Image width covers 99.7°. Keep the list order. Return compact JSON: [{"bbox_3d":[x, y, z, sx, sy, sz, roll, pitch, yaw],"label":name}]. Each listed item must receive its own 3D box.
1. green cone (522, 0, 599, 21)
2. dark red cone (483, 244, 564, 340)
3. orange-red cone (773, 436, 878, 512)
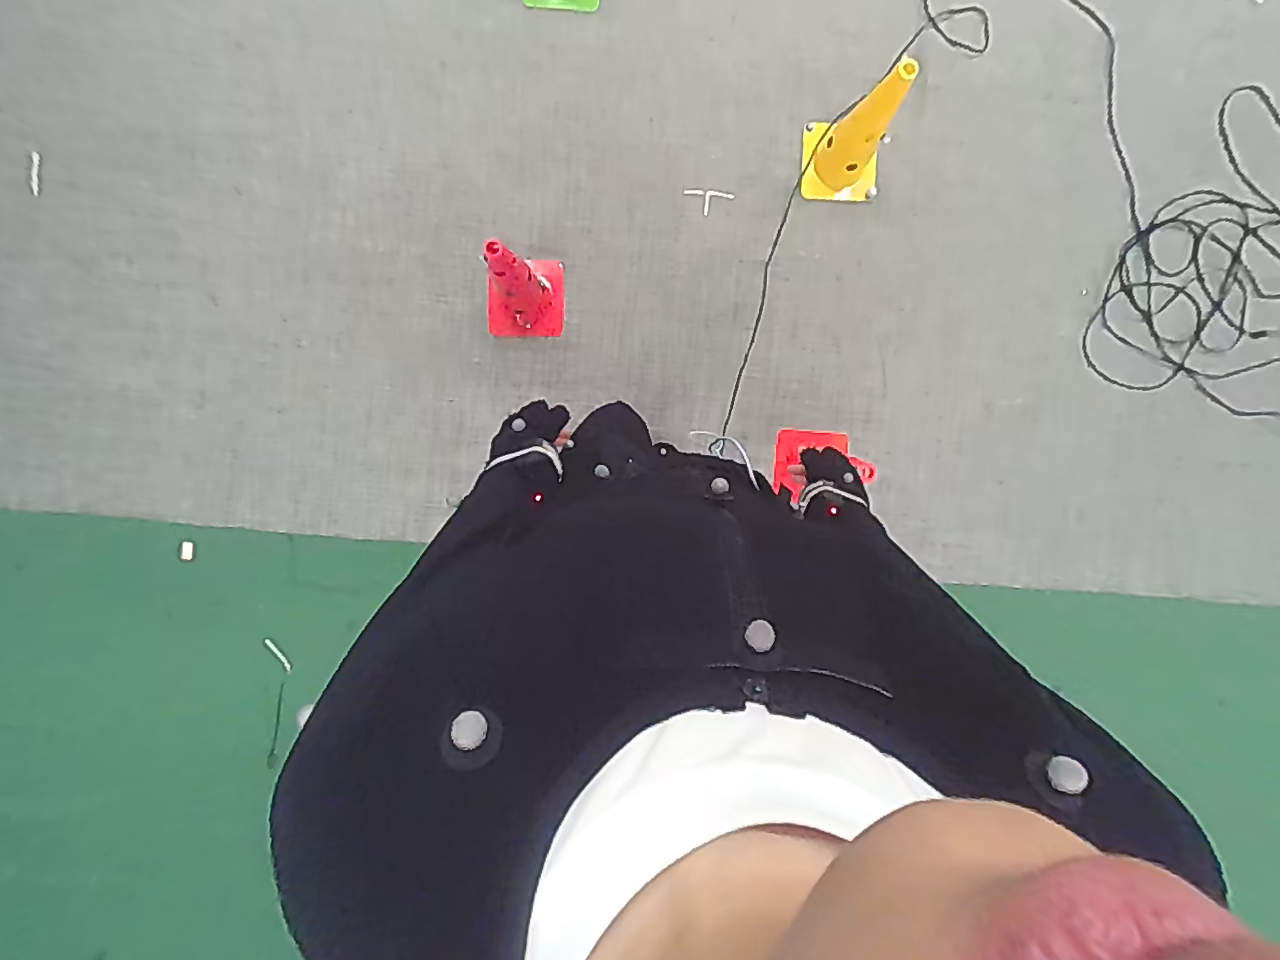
[{"bbox_3d":[-0.197,-1.299,1.239,0.202,0.368,0.200,3,93,-3],"label":"green cone"},{"bbox_3d":[-0.297,-0.458,1.249,0.202,0.394,0.201,-1,94,-1],"label":"dark red cone"},{"bbox_3d":[0.474,-0.012,1.309,0.198,0.360,0.199,5,91,-2],"label":"orange-red cone"}]
